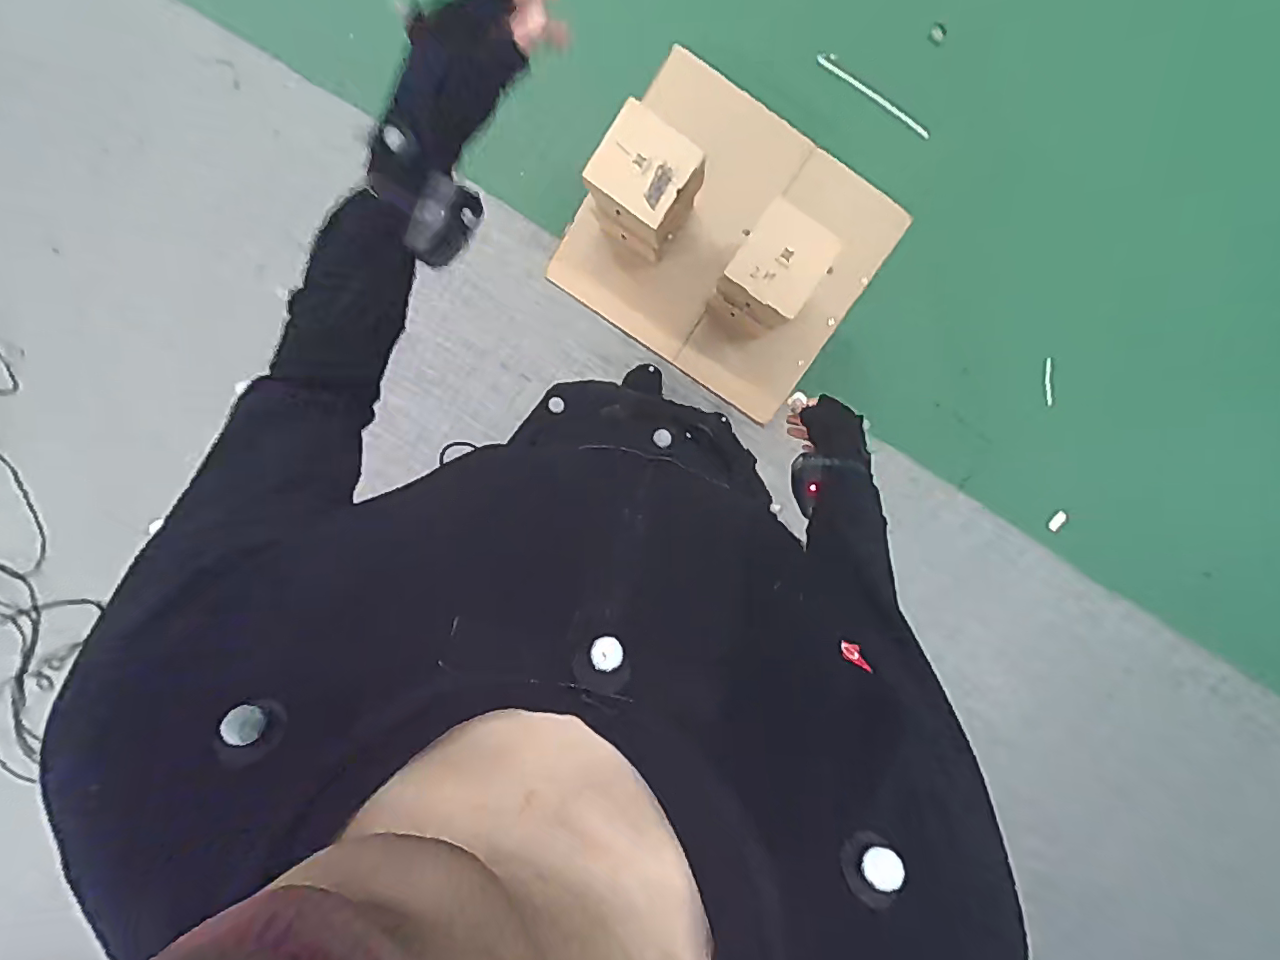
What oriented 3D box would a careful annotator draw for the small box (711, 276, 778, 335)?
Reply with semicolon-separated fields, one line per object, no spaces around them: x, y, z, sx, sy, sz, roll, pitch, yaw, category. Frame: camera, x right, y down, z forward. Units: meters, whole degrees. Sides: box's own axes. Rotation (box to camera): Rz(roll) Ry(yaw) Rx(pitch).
0.280;-0.460;1.270;0.168;0.176;0.179;31;102;-4;small box

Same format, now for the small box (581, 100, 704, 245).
0.011;-0.599;1.084;0.179;0.176;0.168;36;101;-2;small box

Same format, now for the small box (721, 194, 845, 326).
0.279;-0.437;1.106;0.168;0.176;0.179;34;101;-3;small box
